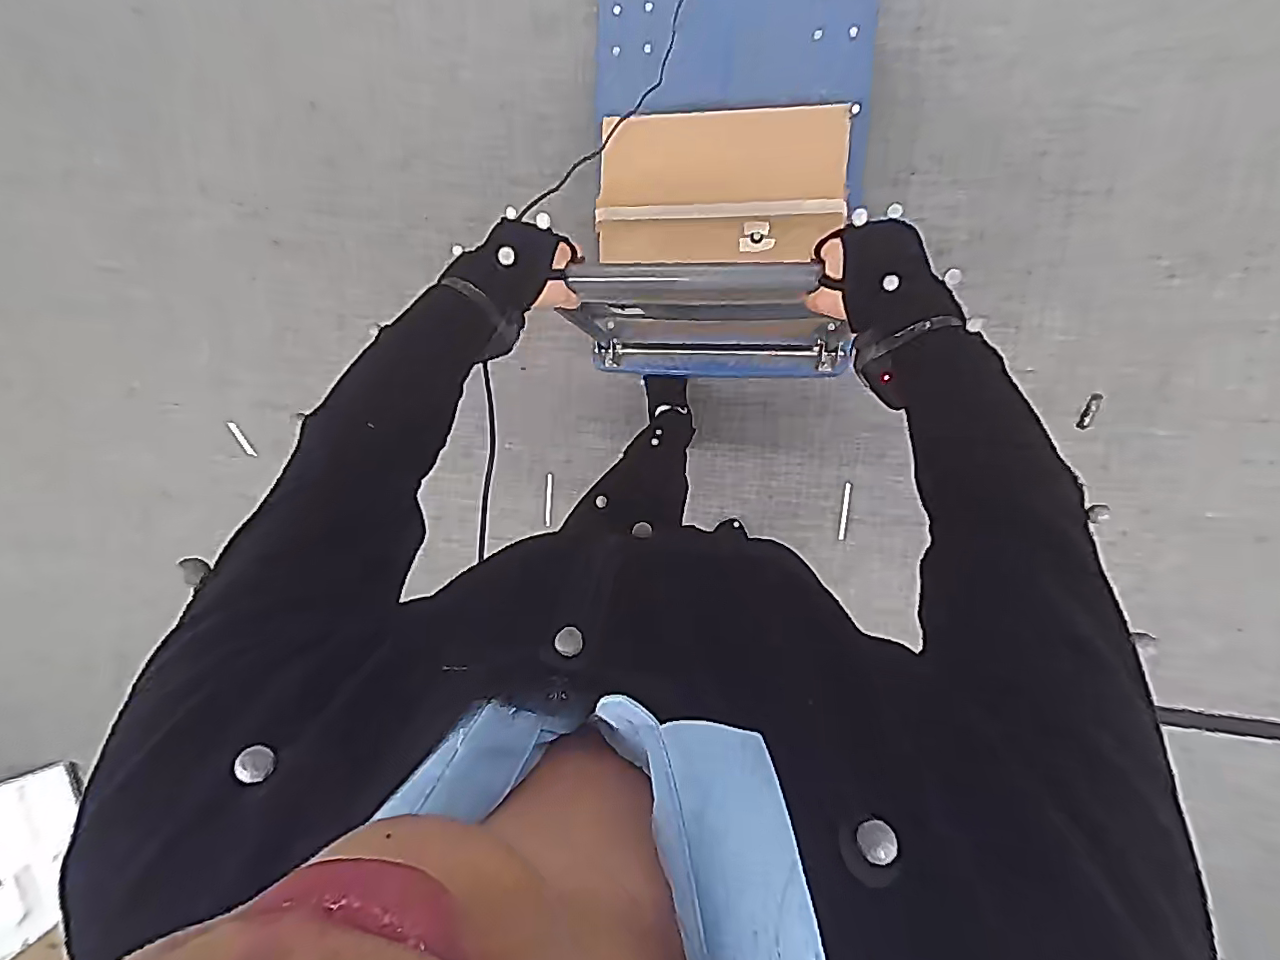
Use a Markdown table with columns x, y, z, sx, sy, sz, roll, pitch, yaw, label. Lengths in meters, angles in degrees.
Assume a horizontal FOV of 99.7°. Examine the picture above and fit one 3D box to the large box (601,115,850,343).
| x | y | z | sx | sy | sz | roll | pitch | yaw | label |
| --- | --- | --- | --- | --- | --- | --- | --- | --- | --- |
| 0.152 | -0.443 | 1.038 | 0.408 | 0.320 | 0.320 | 3 | 97 | 9 | large box |
